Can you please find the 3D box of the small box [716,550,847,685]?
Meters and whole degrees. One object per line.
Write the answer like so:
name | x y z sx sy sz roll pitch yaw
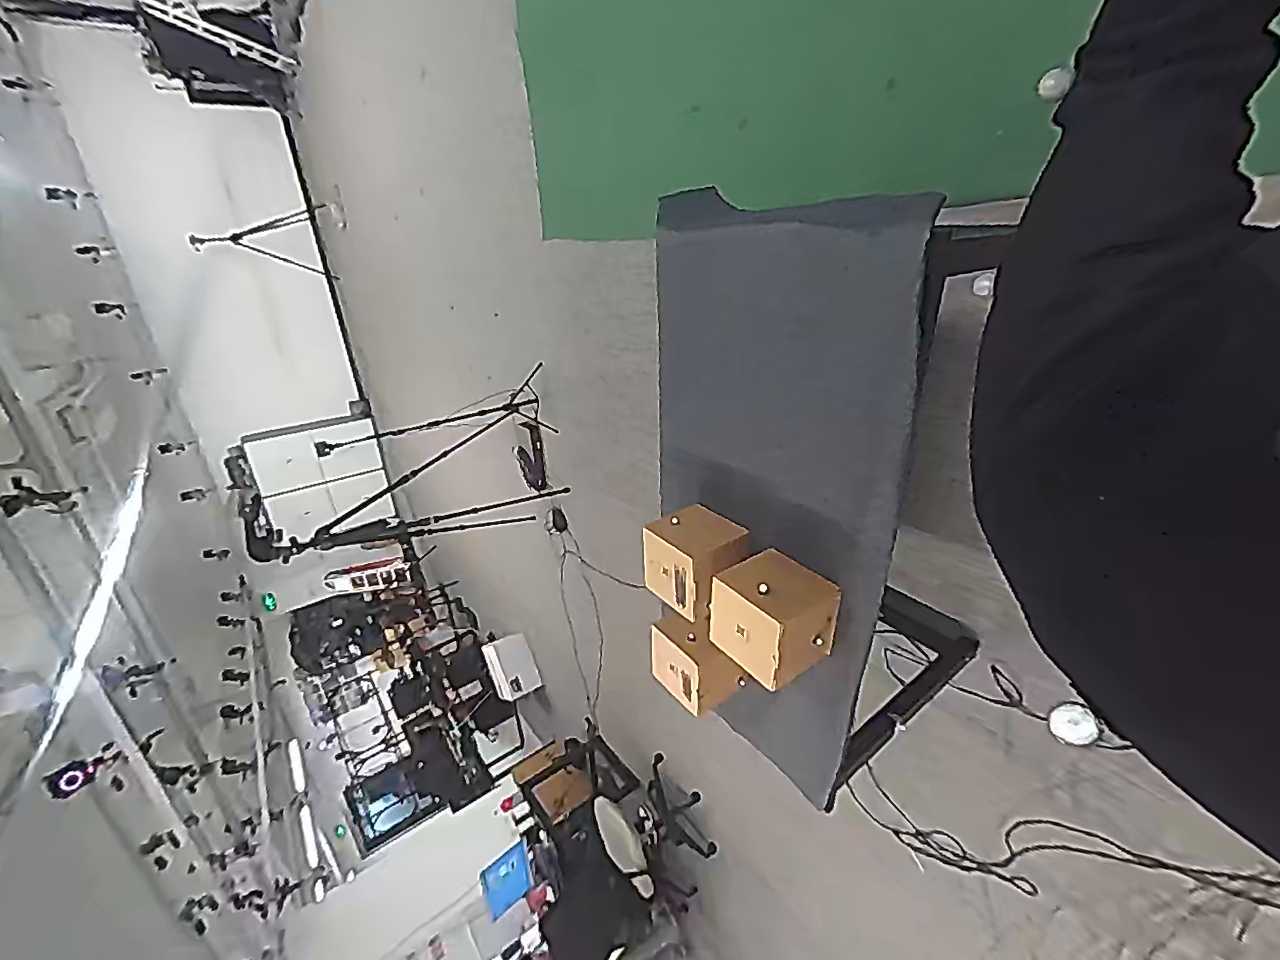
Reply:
small box | 0.272 0.257 1.063 0.179 0.176 0.168 31 130 47

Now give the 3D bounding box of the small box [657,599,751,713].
small box | 0.160 0.418 1.319 0.179 0.176 0.168 30 130 48
